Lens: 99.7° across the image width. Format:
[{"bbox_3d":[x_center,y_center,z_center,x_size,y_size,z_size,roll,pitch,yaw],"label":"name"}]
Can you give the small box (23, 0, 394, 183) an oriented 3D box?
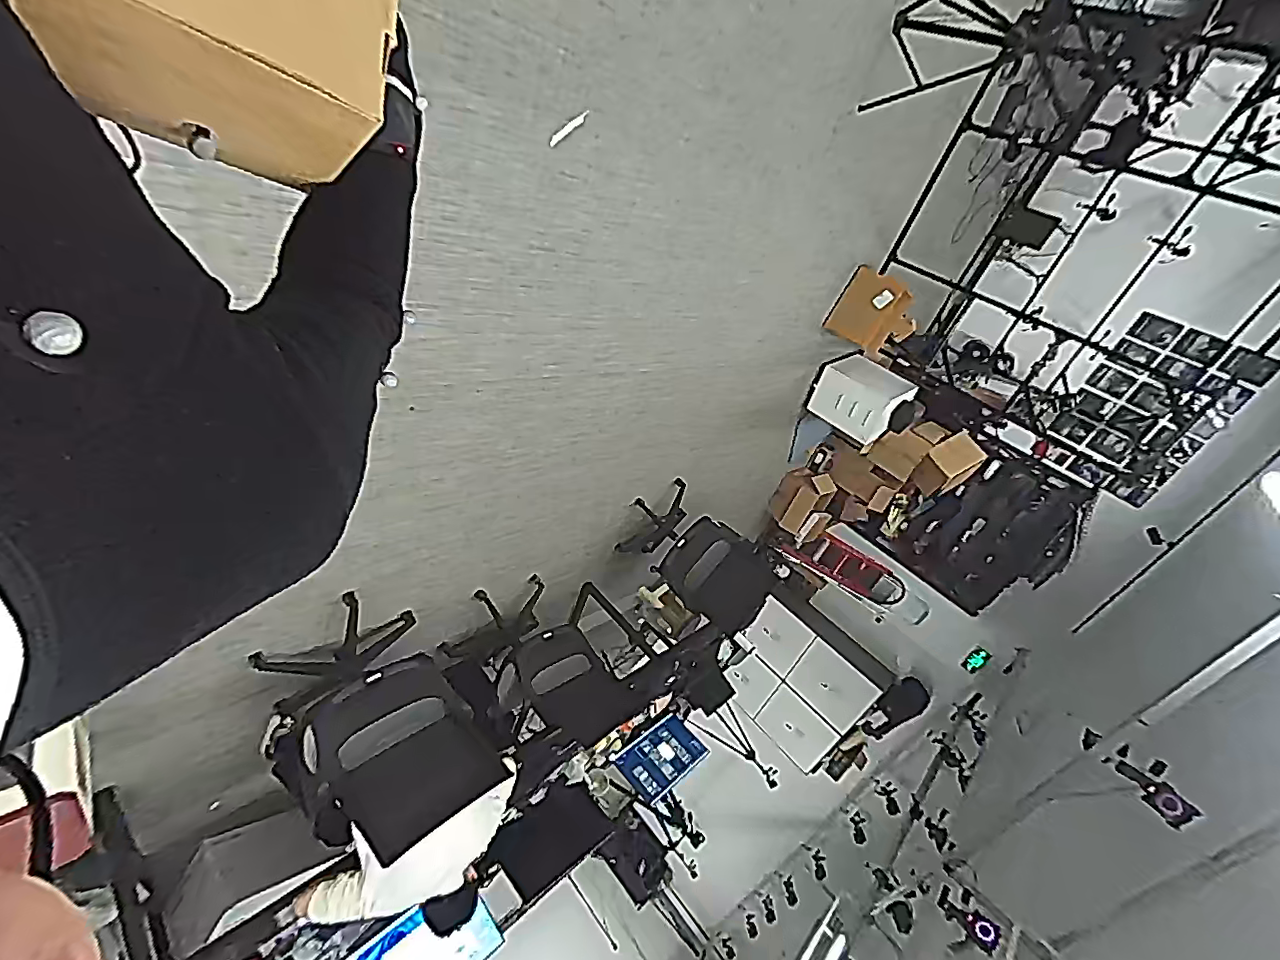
[{"bbox_3d":[-0.293,-0.338,0.379,0.179,0.176,0.168,4,91,-45],"label":"small box"}]
